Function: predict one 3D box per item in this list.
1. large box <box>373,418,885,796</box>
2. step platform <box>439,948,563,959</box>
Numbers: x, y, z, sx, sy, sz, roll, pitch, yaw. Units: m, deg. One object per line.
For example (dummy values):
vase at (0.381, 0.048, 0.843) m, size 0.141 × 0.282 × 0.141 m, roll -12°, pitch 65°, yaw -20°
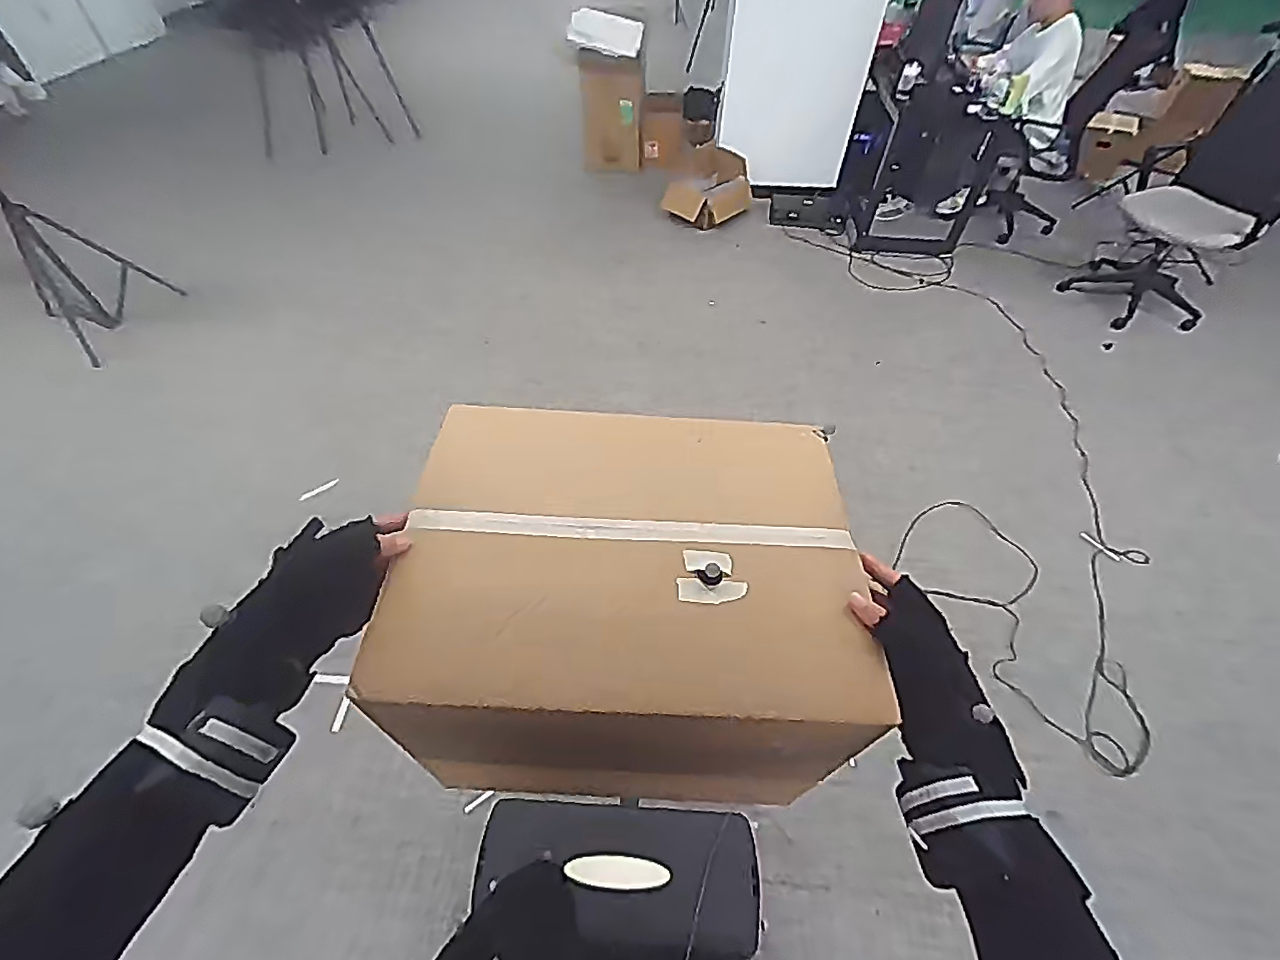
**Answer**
large box at (-0.013, 0.153, 0.620) m, size 0.408 × 0.320 × 0.320 m, roll 4°, pitch 50°, yaw -2°
step platform at (-0.113, 1.148, 1.080) m, size 0.684 × 0.204 × 0.286 m, roll 2°, pitch 50°, yaw 3°
